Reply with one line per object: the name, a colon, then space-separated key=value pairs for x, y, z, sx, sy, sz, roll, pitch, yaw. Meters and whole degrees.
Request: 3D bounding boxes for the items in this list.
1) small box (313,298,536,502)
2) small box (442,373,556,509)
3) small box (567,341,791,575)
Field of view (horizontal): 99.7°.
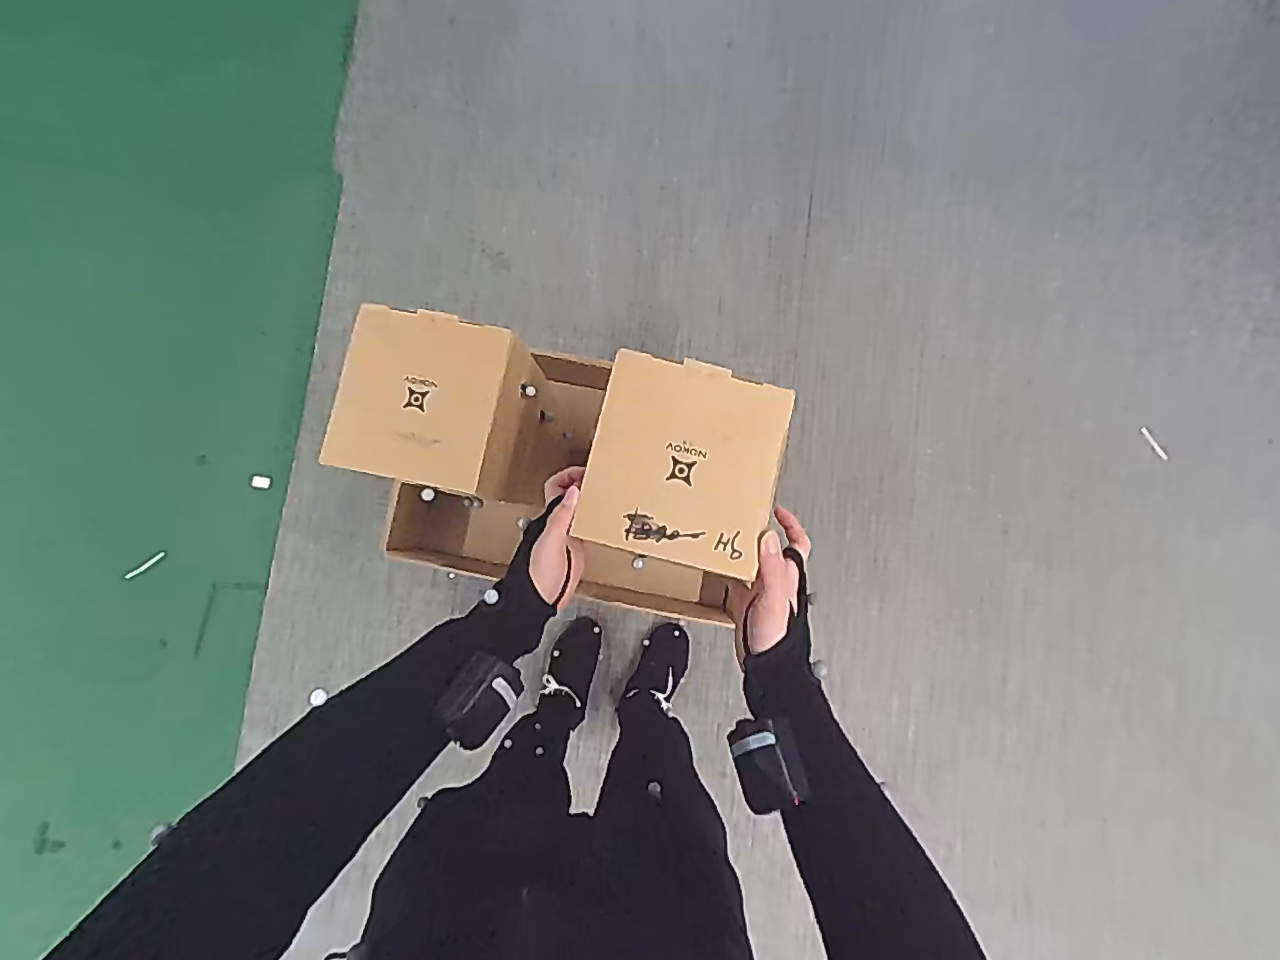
small box: x=-0.227 y=-0.079 z=0.622 sx=0.168 sy=0.176 sz=0.179 roll=12 pitch=84 yaw=3
small box: x=-0.226 y=-0.061 z=0.784 sx=0.168 sy=0.176 sz=0.179 roll=11 pitch=84 yaw=2
small box: x=0.034 y=-0.010 z=0.545 sx=0.168 sy=0.176 sz=0.179 roll=14 pitch=81 yaw=1
